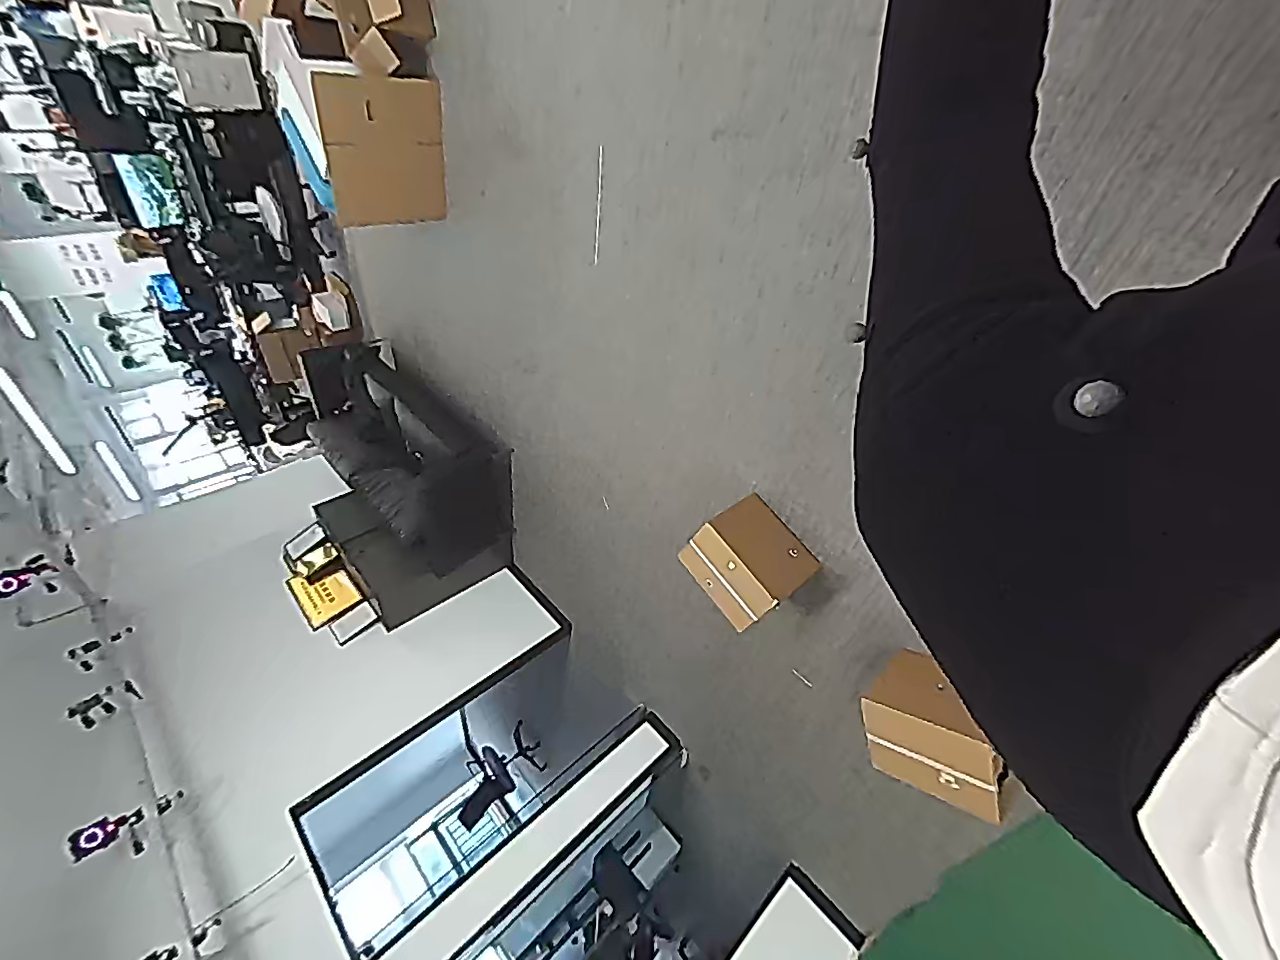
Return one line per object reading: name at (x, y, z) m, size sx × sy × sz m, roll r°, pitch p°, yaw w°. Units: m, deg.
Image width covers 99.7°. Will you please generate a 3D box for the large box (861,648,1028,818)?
large box at (1.031, 0.826, 1.835) m, size 0.408 × 0.320 × 0.320 m, roll 3°, pitch 115°, yaw 49°
